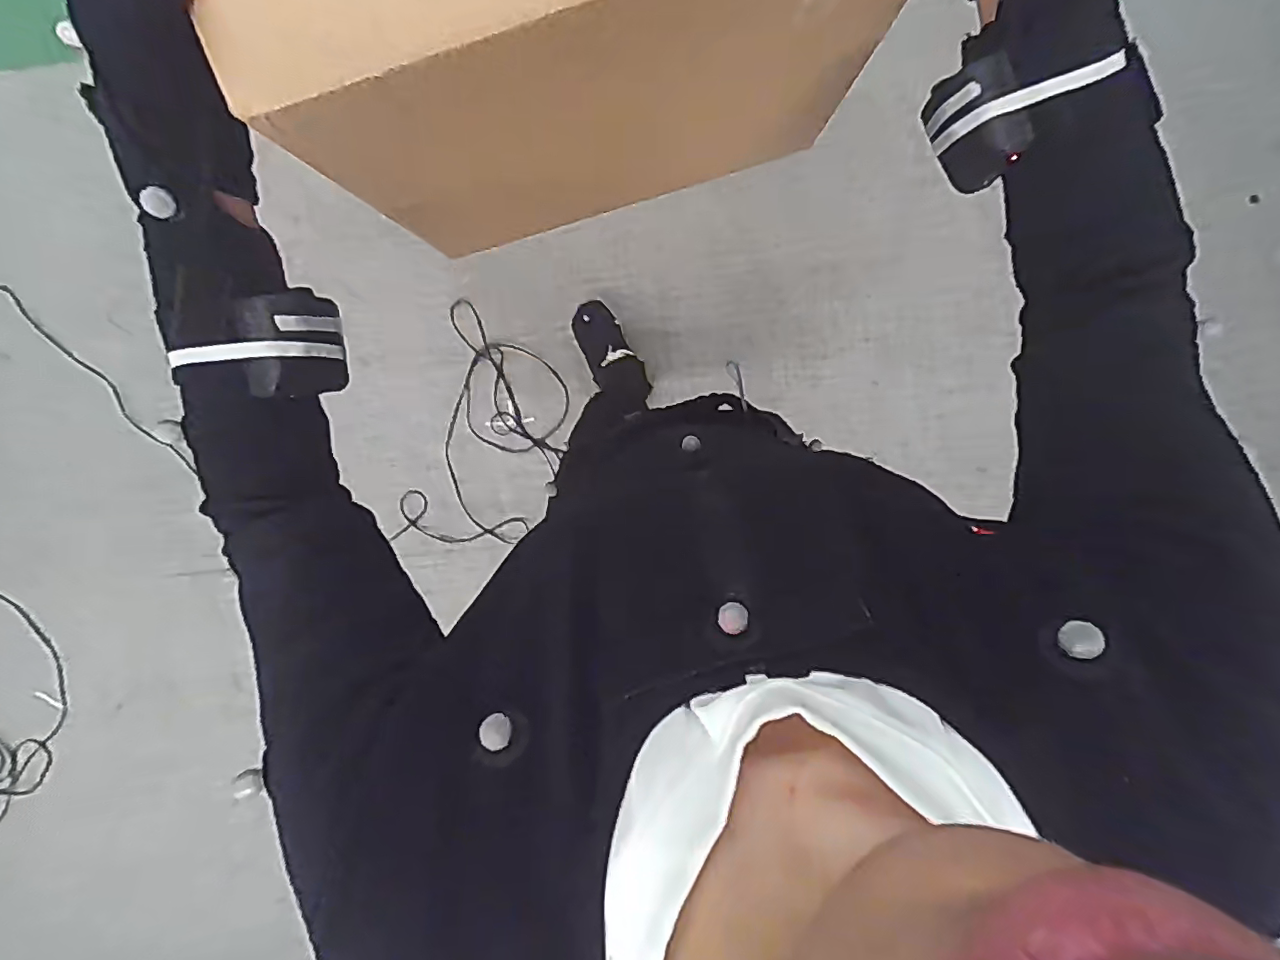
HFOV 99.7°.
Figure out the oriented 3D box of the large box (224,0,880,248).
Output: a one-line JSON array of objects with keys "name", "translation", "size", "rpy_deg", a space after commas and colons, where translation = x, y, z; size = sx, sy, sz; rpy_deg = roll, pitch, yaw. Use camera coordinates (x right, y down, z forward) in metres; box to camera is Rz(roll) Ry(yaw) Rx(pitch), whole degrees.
[{"name": "large box", "translation": [-0.061, -0.426, 0.408], "size": [0.408, 0.320, 0.320], "rpy_deg": [-17, 99, 3]}]
